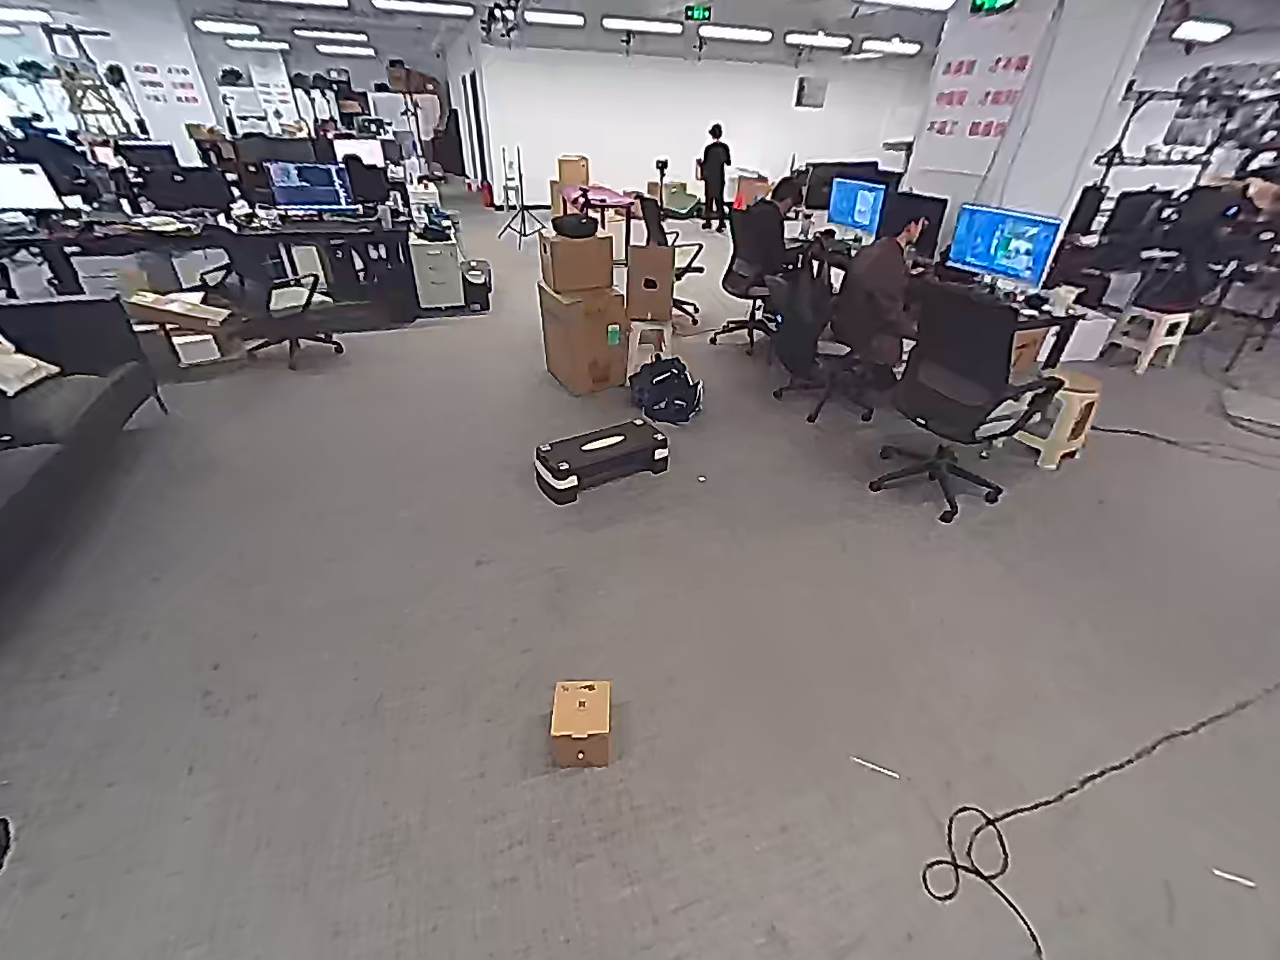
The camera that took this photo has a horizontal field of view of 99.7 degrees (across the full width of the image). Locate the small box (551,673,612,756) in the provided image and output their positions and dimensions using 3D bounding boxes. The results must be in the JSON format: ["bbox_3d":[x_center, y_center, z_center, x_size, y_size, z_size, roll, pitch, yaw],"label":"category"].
[{"bbox_3d":[-0.169,0.706,1.619,0.168,0.176,0.179,-1,35,-2],"label":"small box"}]
